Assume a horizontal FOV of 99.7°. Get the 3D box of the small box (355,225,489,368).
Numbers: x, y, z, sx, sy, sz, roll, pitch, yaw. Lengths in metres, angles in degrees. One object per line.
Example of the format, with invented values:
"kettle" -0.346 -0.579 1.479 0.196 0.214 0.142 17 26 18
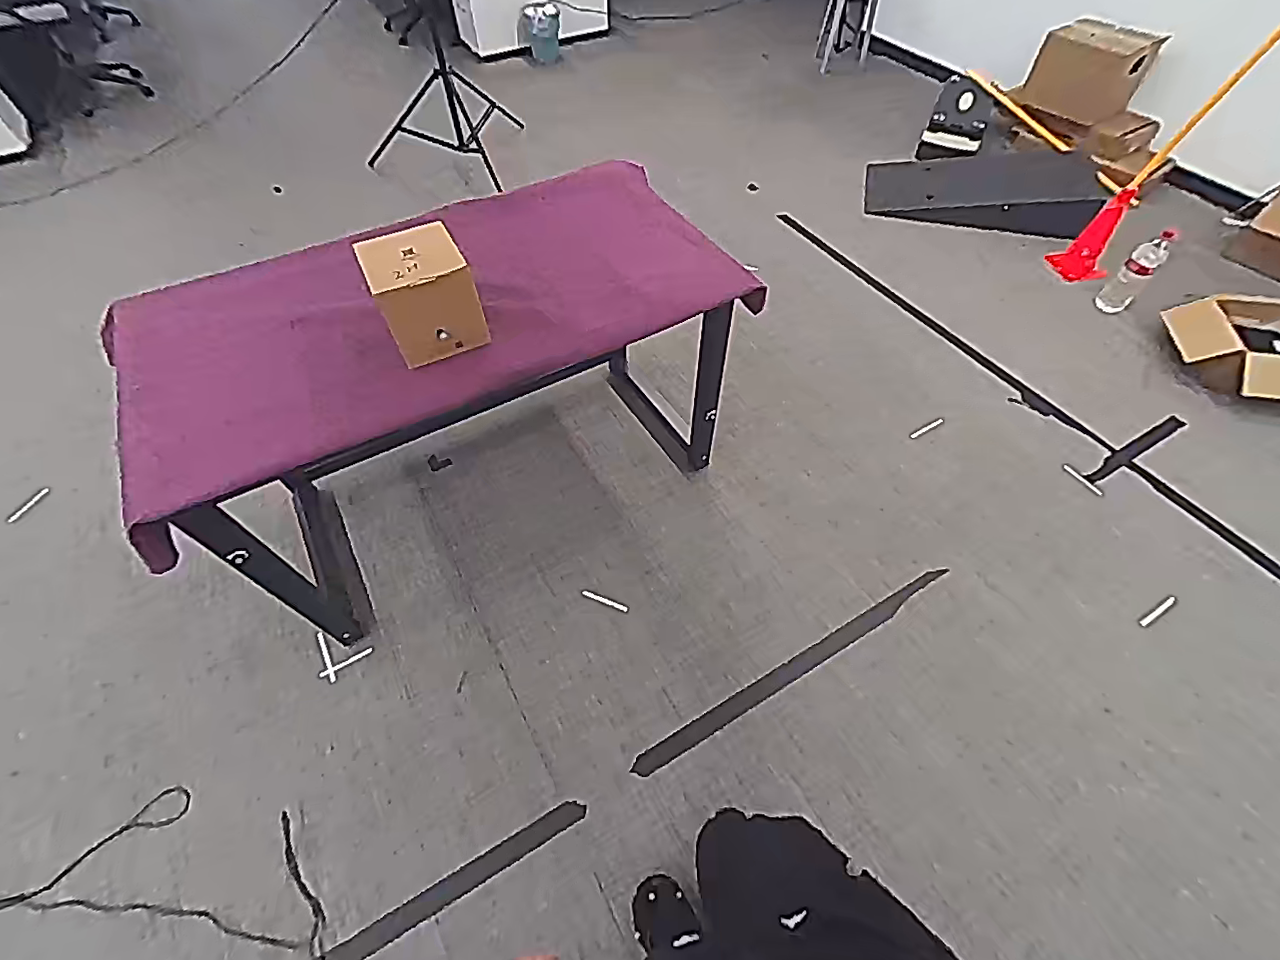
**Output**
"small box" -0.406 -0.345 1.023 0.168 0.176 0.179 -24 58 -15
